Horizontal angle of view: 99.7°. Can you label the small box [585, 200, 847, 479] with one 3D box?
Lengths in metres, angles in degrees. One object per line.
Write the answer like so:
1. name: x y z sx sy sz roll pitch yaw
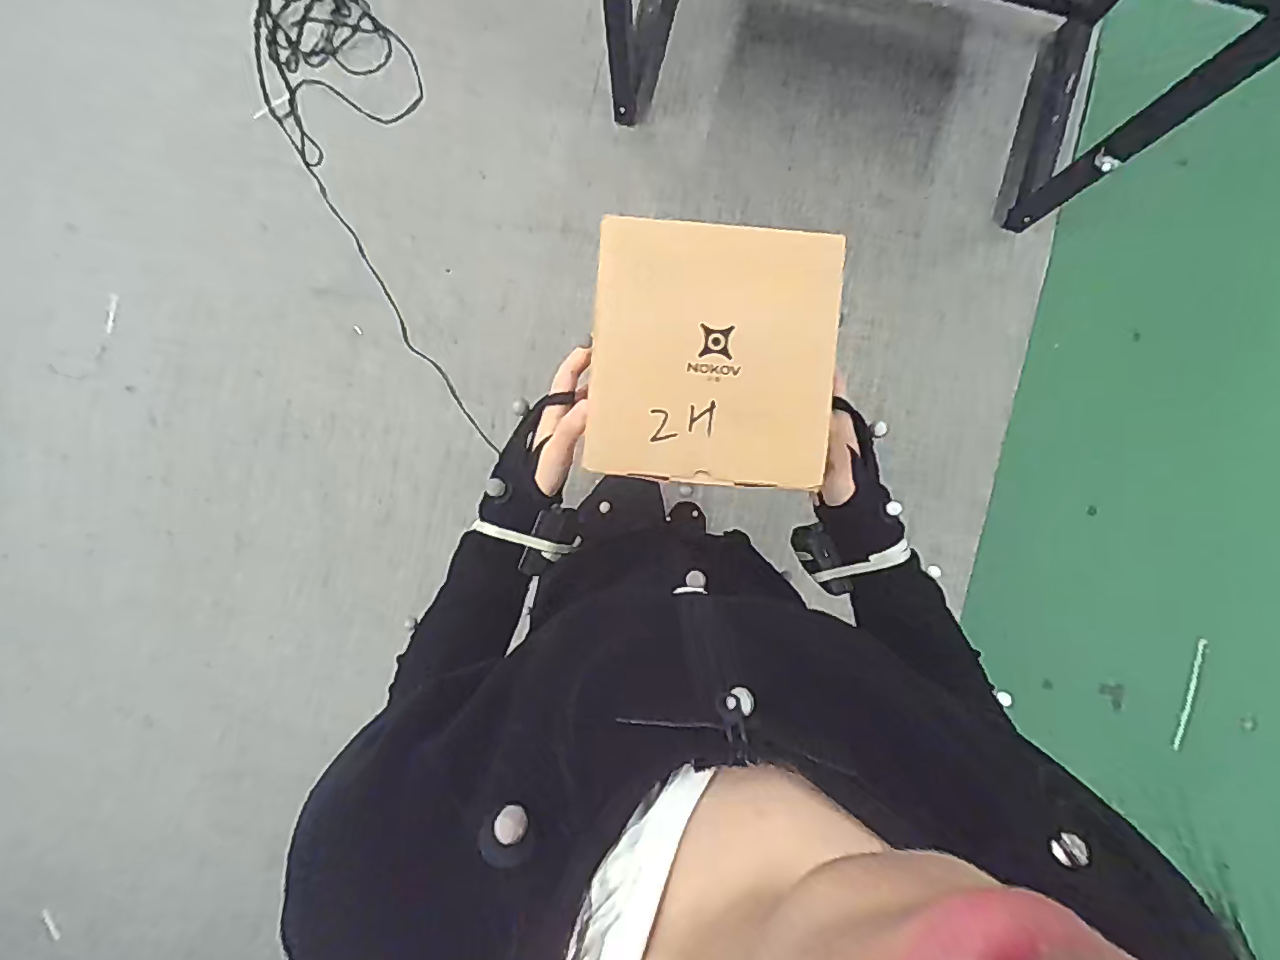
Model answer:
1. small box: 0.050 -0.094 0.440 0.168 0.176 0.179 4 91 0
